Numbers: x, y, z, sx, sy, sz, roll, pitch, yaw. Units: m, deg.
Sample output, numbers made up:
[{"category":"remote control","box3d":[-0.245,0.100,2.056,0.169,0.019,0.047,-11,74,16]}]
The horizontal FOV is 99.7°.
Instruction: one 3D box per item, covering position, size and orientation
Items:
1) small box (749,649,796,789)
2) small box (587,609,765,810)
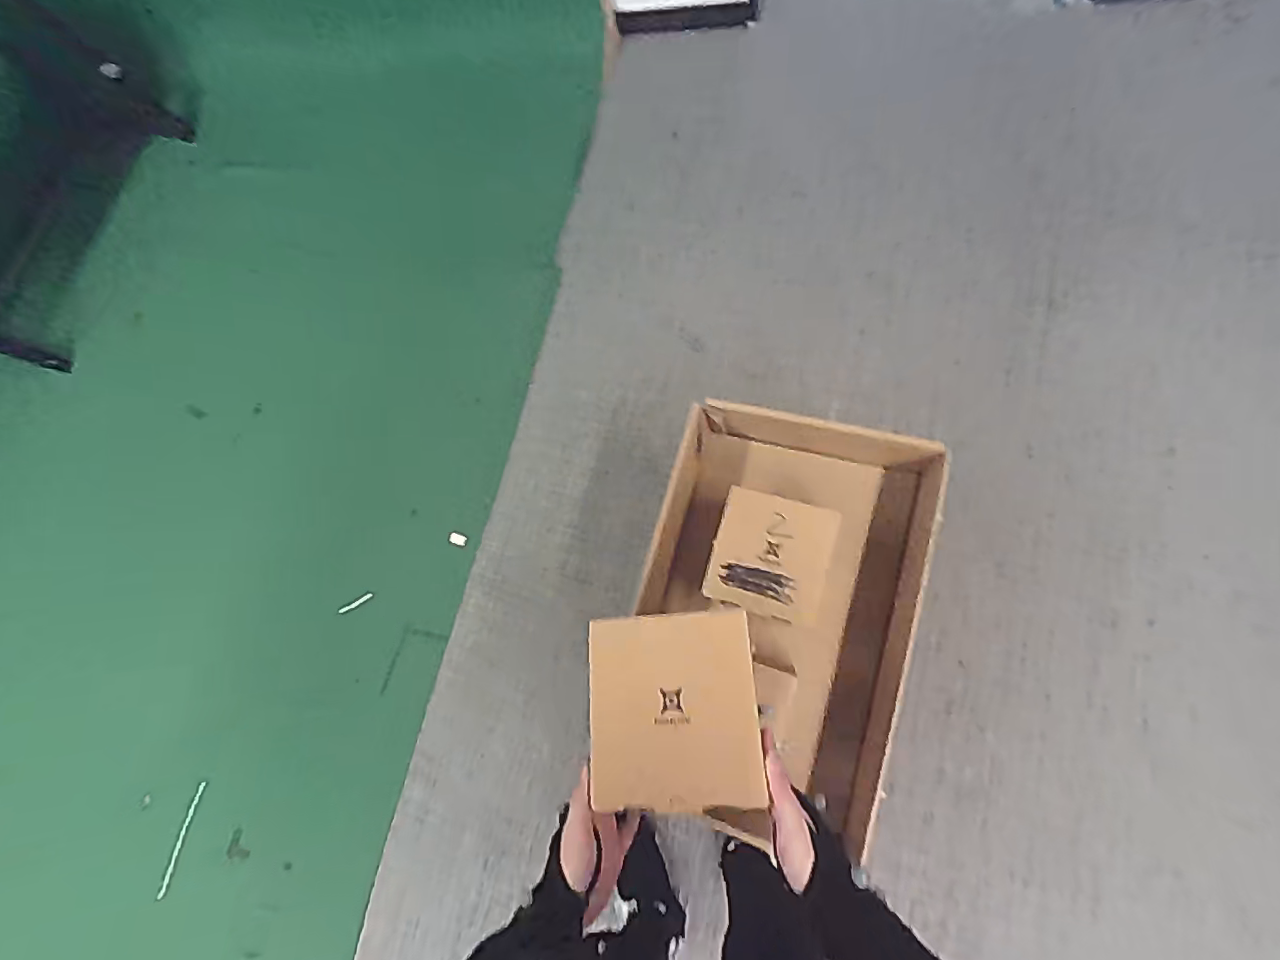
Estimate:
[{"category":"small box","box3d":[0.136,0.348,0.830,0.168,0.176,0.179,15,79,17]},{"category":"small box","box3d":[0.040,0.249,0.598,0.168,0.176,0.179,-7,68,8]}]
